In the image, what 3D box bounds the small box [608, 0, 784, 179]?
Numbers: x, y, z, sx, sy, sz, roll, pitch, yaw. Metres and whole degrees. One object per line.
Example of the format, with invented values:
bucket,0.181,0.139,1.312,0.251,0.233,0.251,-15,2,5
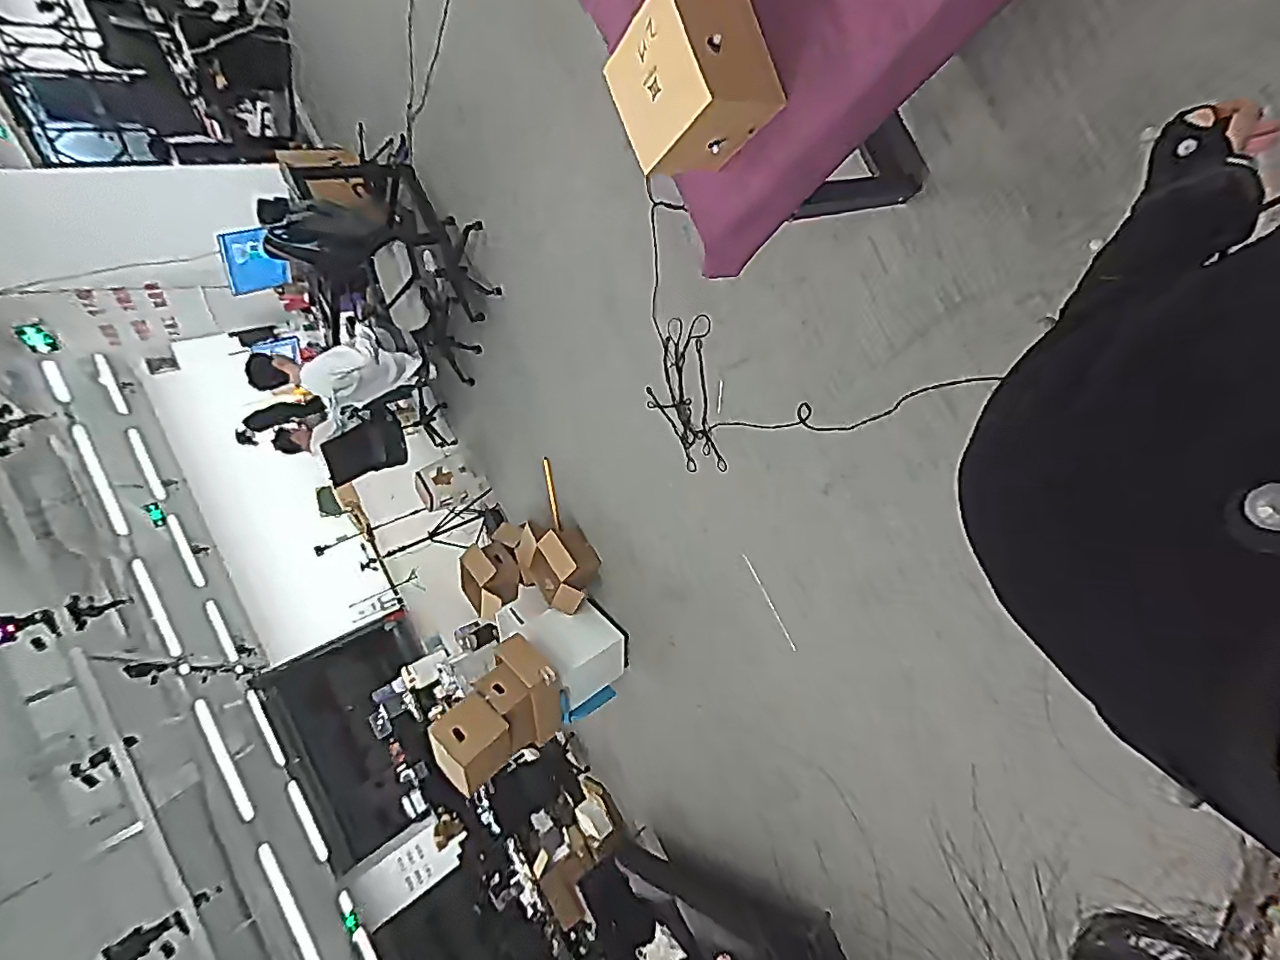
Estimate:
small box,0.086,-0.589,0.814,0.168,0.176,0.179,-16,97,56
